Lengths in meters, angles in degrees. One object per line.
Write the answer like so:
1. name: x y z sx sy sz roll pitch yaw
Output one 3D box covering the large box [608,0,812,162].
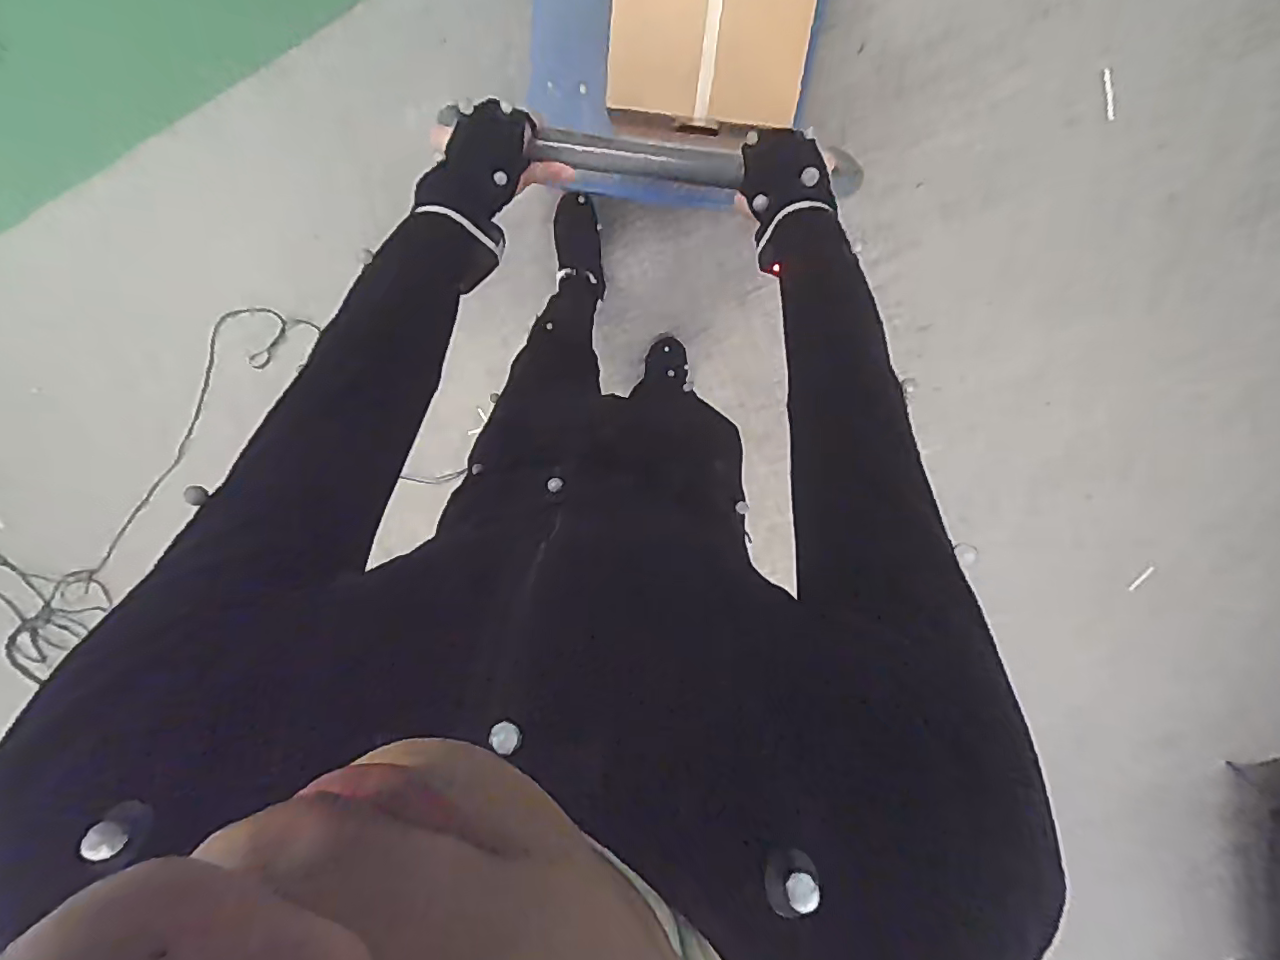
1. large box: 0.124 -0.837 0.974 0.320 0.320 0.408 7 112 -1
